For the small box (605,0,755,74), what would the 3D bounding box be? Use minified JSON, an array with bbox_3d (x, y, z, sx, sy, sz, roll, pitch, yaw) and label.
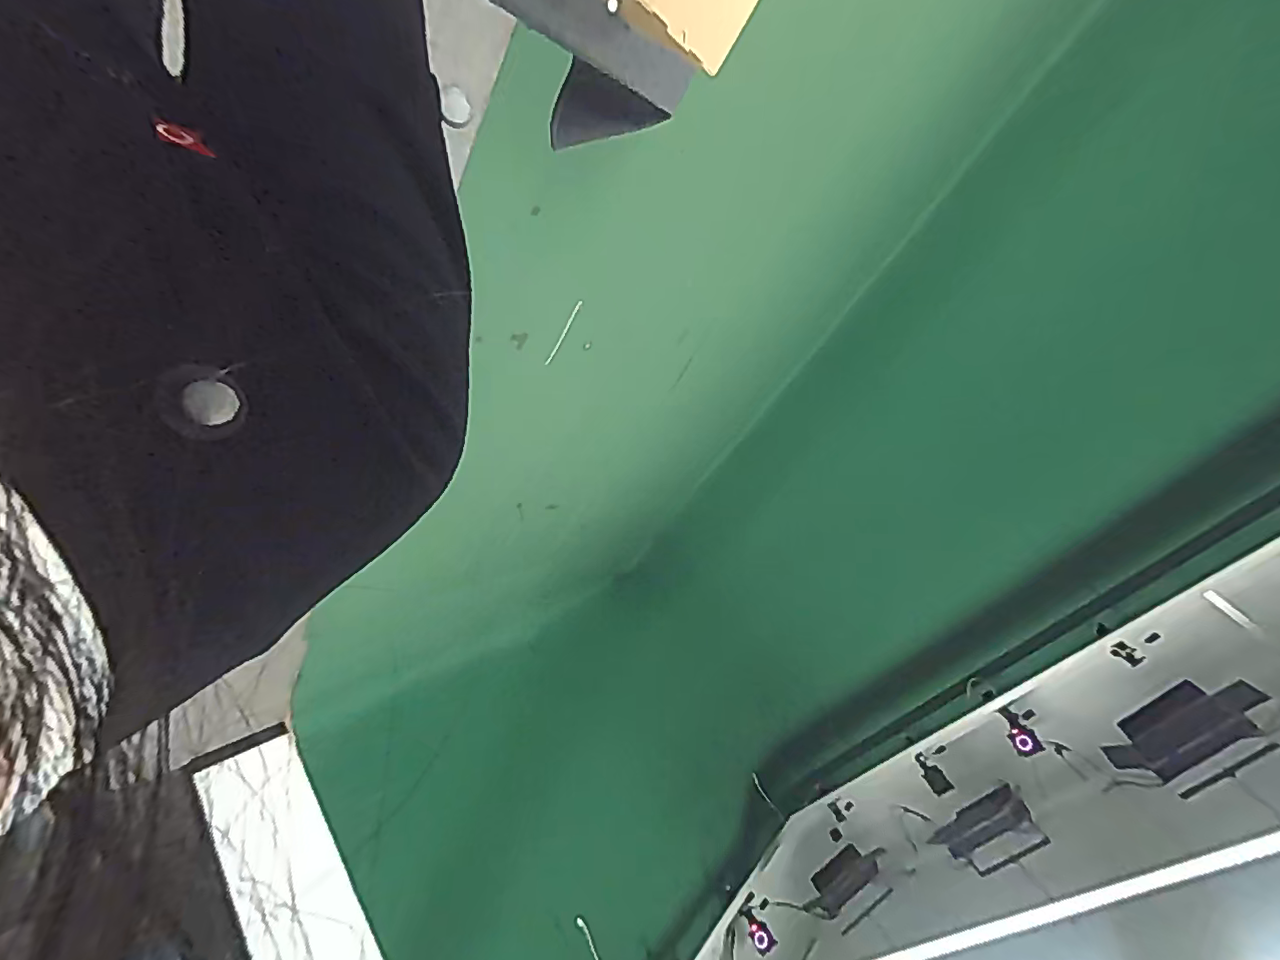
[{"bbox_3d":[0.038,-0.619,0.604,0.168,0.176,0.179,-9,142,-53],"label":"small box"}]
